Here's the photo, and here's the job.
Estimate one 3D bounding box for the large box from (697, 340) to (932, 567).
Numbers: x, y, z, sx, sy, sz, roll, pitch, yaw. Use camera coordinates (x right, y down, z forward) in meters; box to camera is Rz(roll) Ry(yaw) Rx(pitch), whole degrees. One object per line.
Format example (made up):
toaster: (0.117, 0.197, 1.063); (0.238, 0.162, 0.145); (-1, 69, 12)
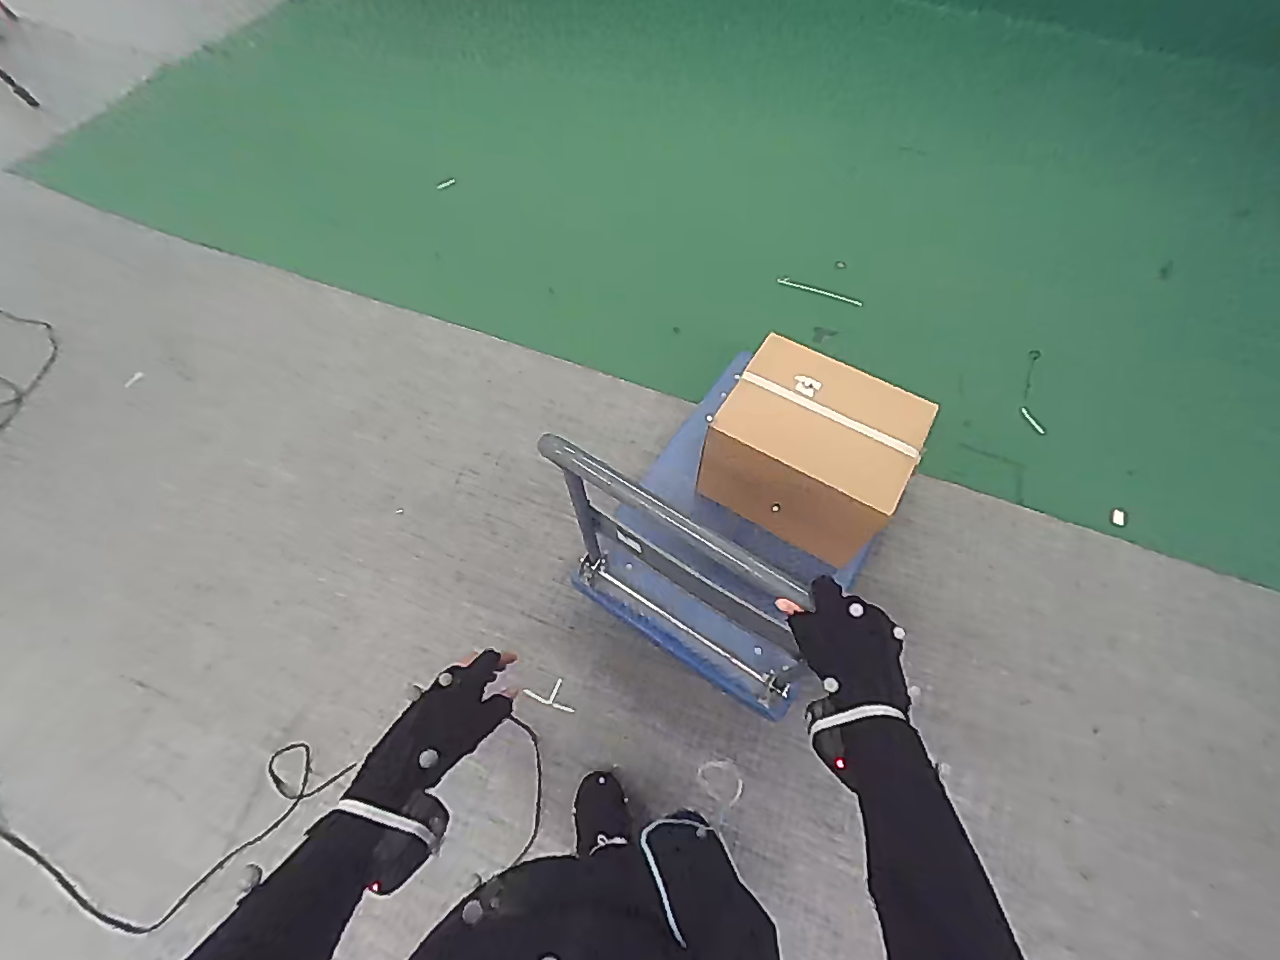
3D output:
large box: (0.389, -0.056, 1.285); (0.408, 0.320, 0.320); (29, 64, 16)
